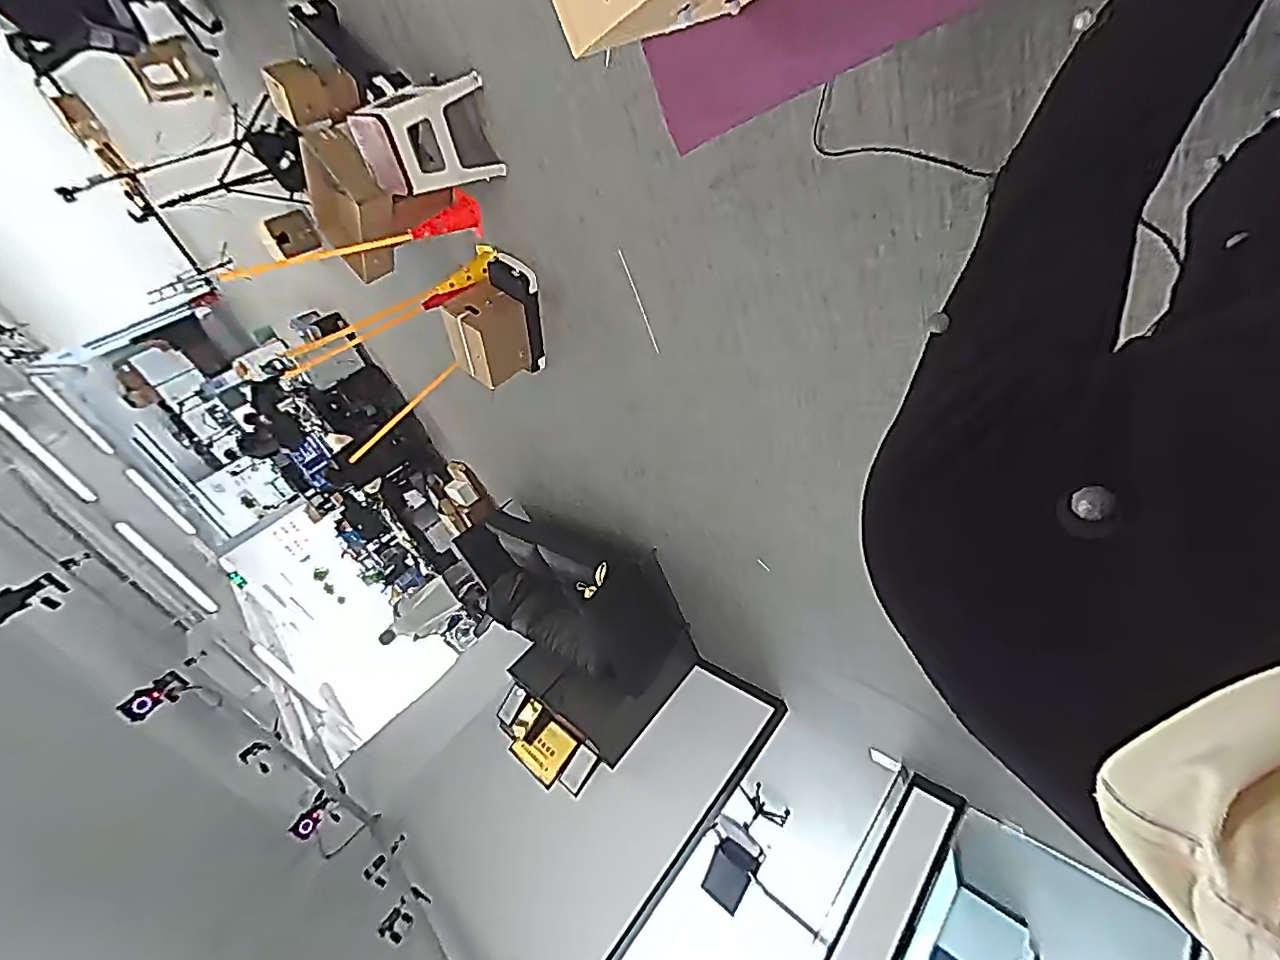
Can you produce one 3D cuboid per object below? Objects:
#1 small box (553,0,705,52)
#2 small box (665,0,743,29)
[{"bbox_3d":[0.000,-0.598,0.564,0.168,0.176,0.179,12,136,48],"label":"small box"},{"bbox_3d":[0.108,-0.692,0.643,0.168,0.176,0.179,11,134,48],"label":"small box"}]
